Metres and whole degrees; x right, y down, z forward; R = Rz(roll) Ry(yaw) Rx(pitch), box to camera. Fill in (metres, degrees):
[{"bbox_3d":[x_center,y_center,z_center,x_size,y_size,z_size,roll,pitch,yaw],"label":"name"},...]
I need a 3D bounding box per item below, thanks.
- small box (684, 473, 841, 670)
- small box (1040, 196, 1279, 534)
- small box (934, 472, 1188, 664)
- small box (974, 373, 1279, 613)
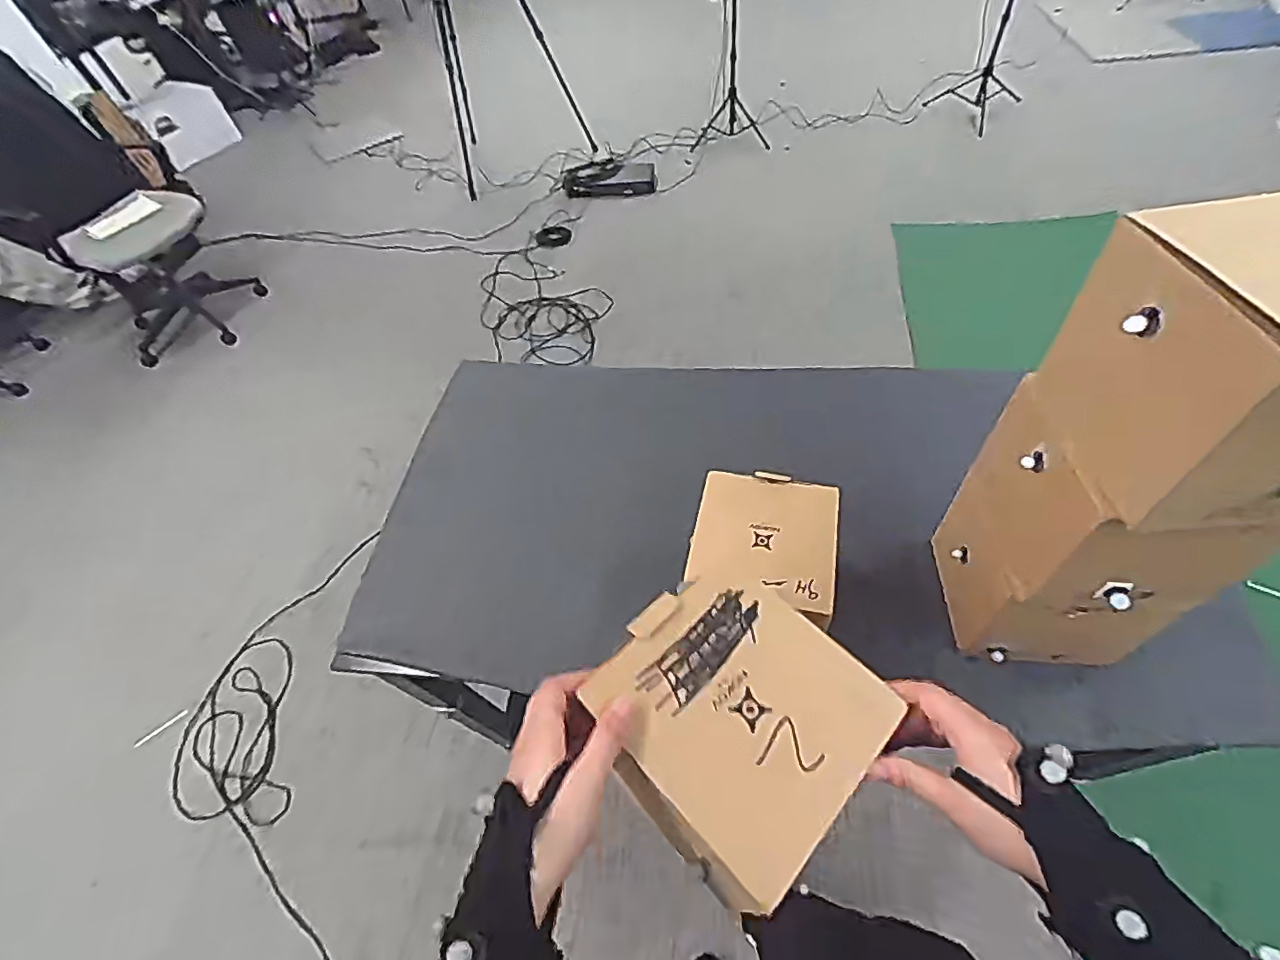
[{"bbox_3d":[0.156,0.119,0.699,0.168,0.176,0.179,8,53,14],"label":"small box"},{"bbox_3d":[0.441,-0.082,0.392,0.168,0.176,0.179,-6,51,7],"label":"small box"},{"bbox_3d":[0.482,0.109,0.656,0.168,0.176,0.179,1,52,10],"label":"small box"},{"bbox_3d":[0.459,0.013,0.527,0.168,0.176,0.179,-2,53,9],"label":"small box"}]
